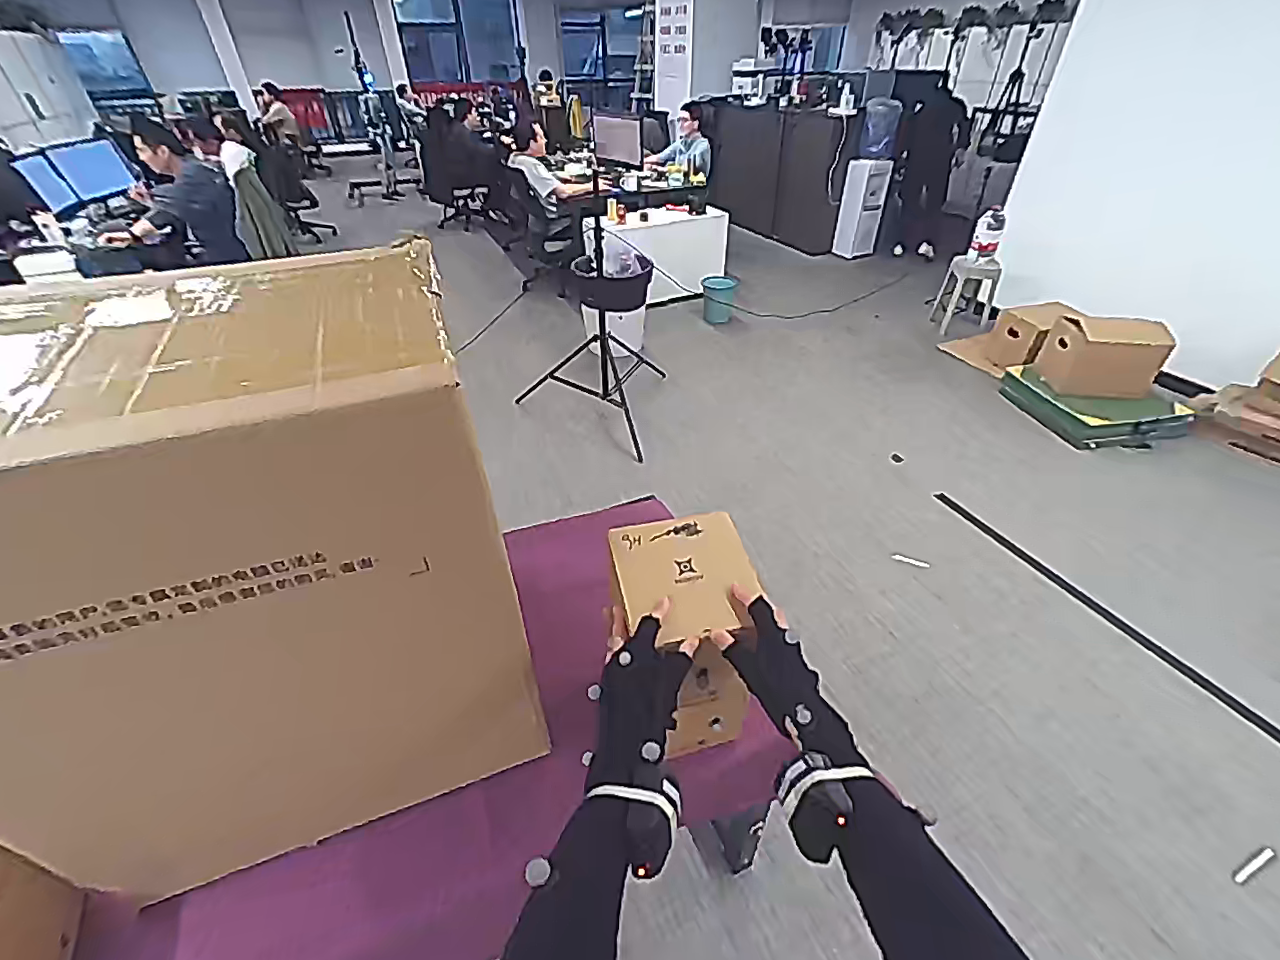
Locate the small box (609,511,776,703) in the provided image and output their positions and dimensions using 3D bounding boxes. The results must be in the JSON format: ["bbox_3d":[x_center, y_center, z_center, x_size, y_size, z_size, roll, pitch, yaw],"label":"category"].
[{"bbox_3d":[0.057,0.169,0.703,0.168,0.176,0.179,-8,45,-10],"label":"small box"}]

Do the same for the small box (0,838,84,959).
[{"bbox_3d":[-0.727,0.514,0.542,0.179,0.176,0.168,-18,40,-23],"label":"small box"}]

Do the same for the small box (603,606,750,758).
[{"bbox_3d":[0.046,0.291,0.811,0.168,0.176,0.179,-10,43,-13],"label":"small box"}]
